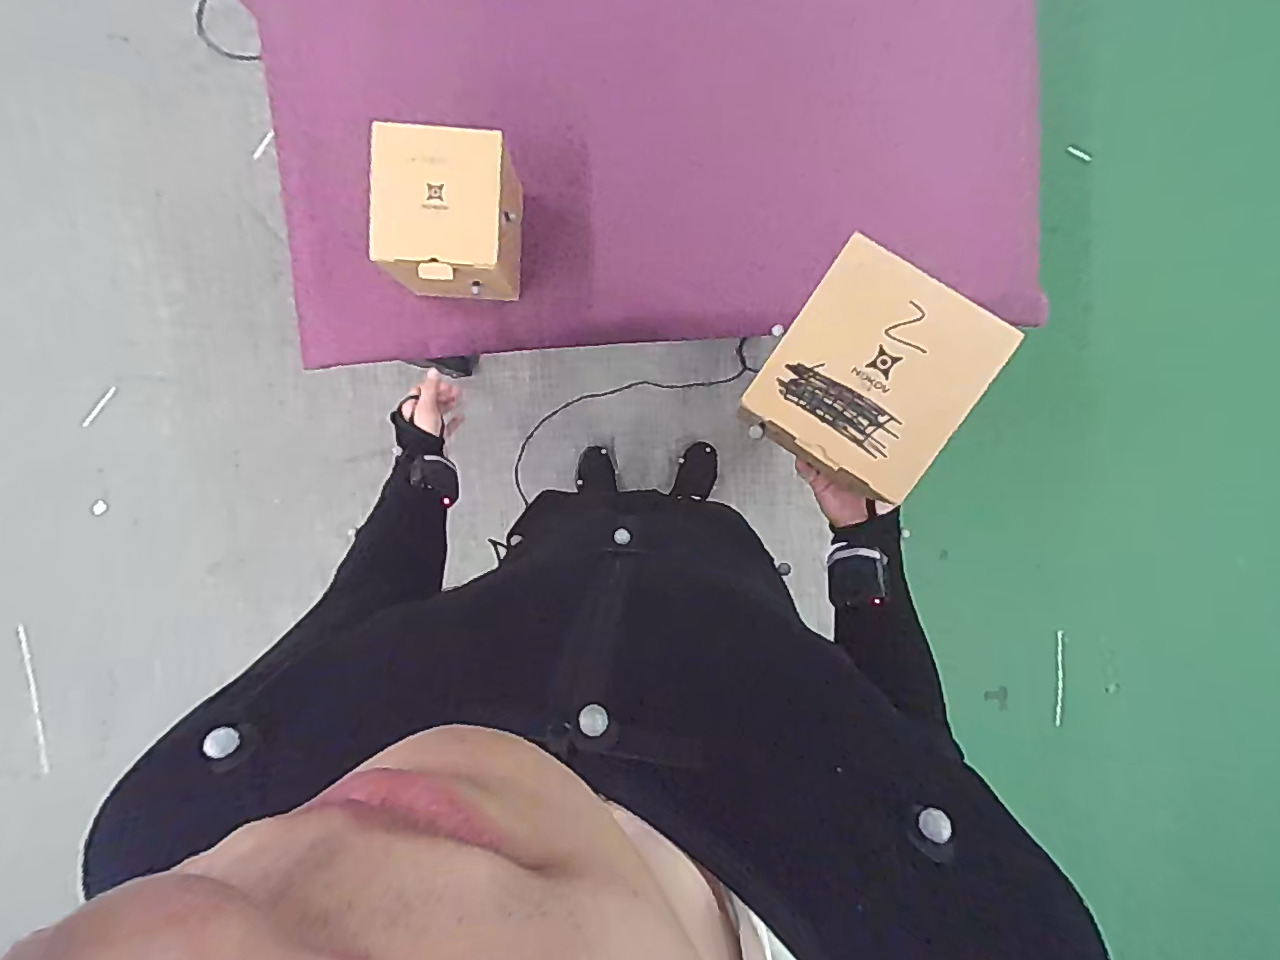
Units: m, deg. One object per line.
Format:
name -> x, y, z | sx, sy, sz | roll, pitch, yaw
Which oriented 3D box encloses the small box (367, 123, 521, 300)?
small box -> -0.270, -0.369, 0.778 | 0.168, 0.176, 0.179 | 3, 93, -3
